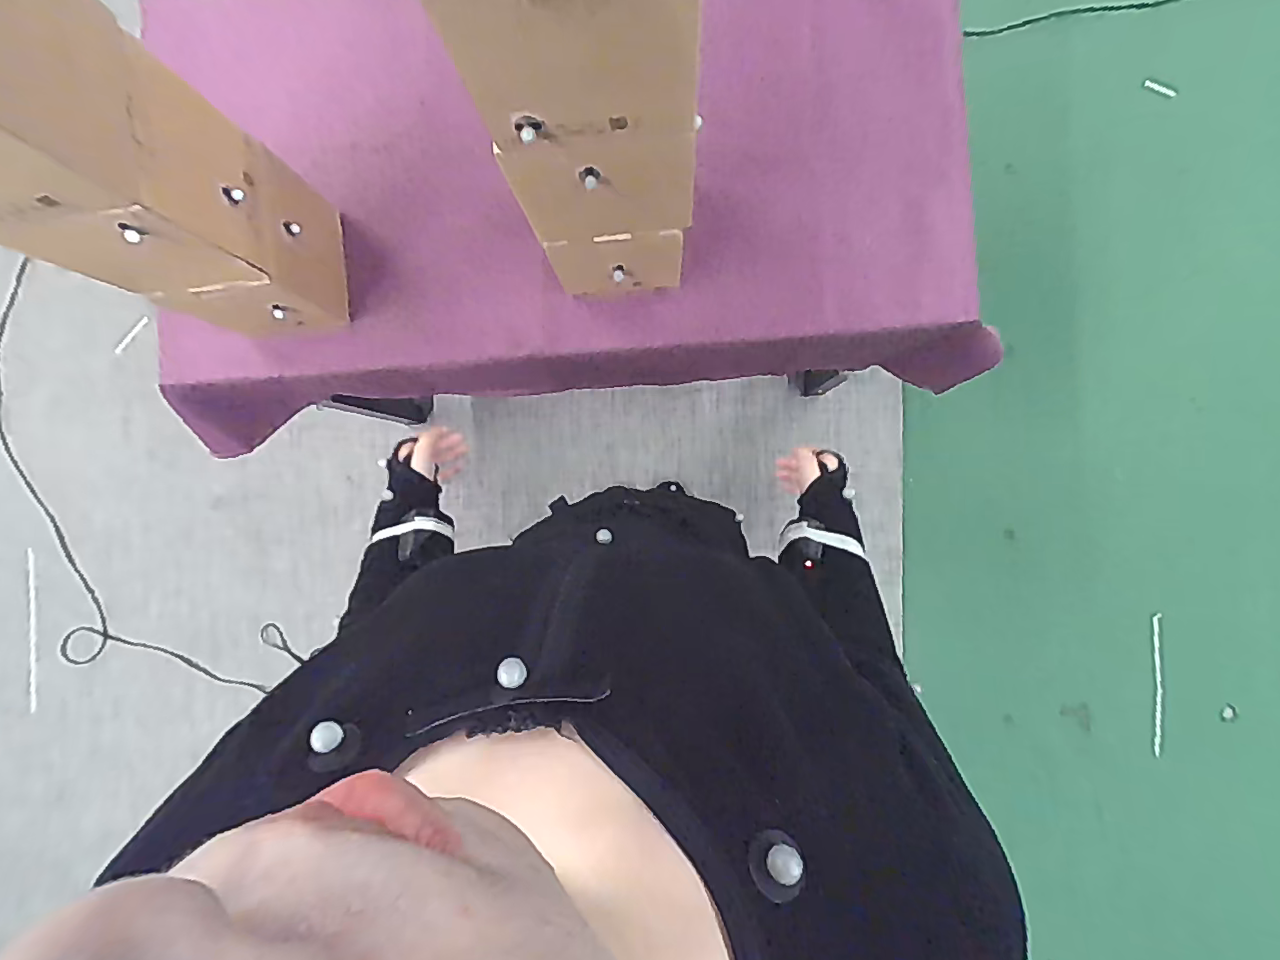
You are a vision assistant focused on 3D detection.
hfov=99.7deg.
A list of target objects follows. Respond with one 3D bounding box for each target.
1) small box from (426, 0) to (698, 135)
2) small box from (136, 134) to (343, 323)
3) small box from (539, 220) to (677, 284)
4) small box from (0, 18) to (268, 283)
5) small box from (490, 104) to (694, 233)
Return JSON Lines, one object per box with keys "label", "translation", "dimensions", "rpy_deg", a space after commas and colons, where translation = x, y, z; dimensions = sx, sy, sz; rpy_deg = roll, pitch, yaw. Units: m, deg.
{"label": "small box", "translation": [-0.047, -0.370, 0.373], "dimensions": [0.168, 0.176, 0.179], "rpy_deg": [-4, 88, 2]}
{"label": "small box", "translation": [-0.524, -0.318, 0.722], "dimensions": [0.168, 0.176, 0.179], "rpy_deg": [-5, 89, 1]}
{"label": "small box", "translation": [-0.036, -0.366, 0.703], "dimensions": [0.168, 0.176, 0.179], "rpy_deg": [-3, 90, 2]}
{"label": "small box", "translation": [-0.534, -0.319, 0.560], "dimensions": [0.179, 0.176, 0.168], "rpy_deg": [-7, 90, 1]}
{"label": "small box", "translation": [-0.040, -0.364, 0.538], "dimensions": [0.179, 0.176, 0.168], "rpy_deg": [-4, 90, 2]}
